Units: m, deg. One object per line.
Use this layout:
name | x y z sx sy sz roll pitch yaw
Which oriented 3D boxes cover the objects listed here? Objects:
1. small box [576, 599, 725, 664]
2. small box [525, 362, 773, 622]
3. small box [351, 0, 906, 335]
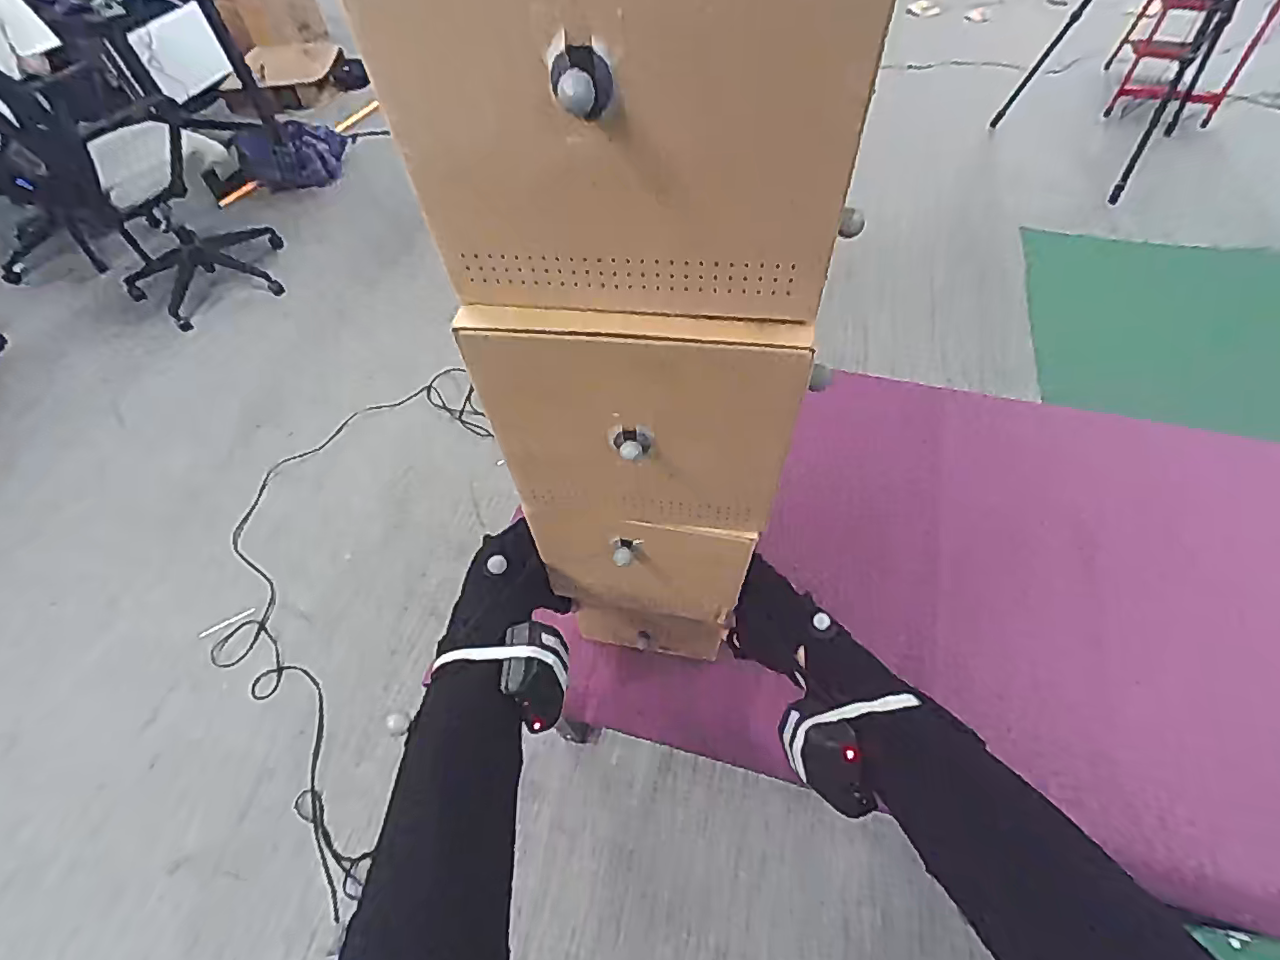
small box | 0.020 0.097 0.645 0.168 0.176 0.179 9 56 7
small box | 0.016 0.018 0.502 0.179 0.176 0.168 9 56 8
small box | 0.008 -0.184 0.241 0.179 0.176 0.168 6 55 9
